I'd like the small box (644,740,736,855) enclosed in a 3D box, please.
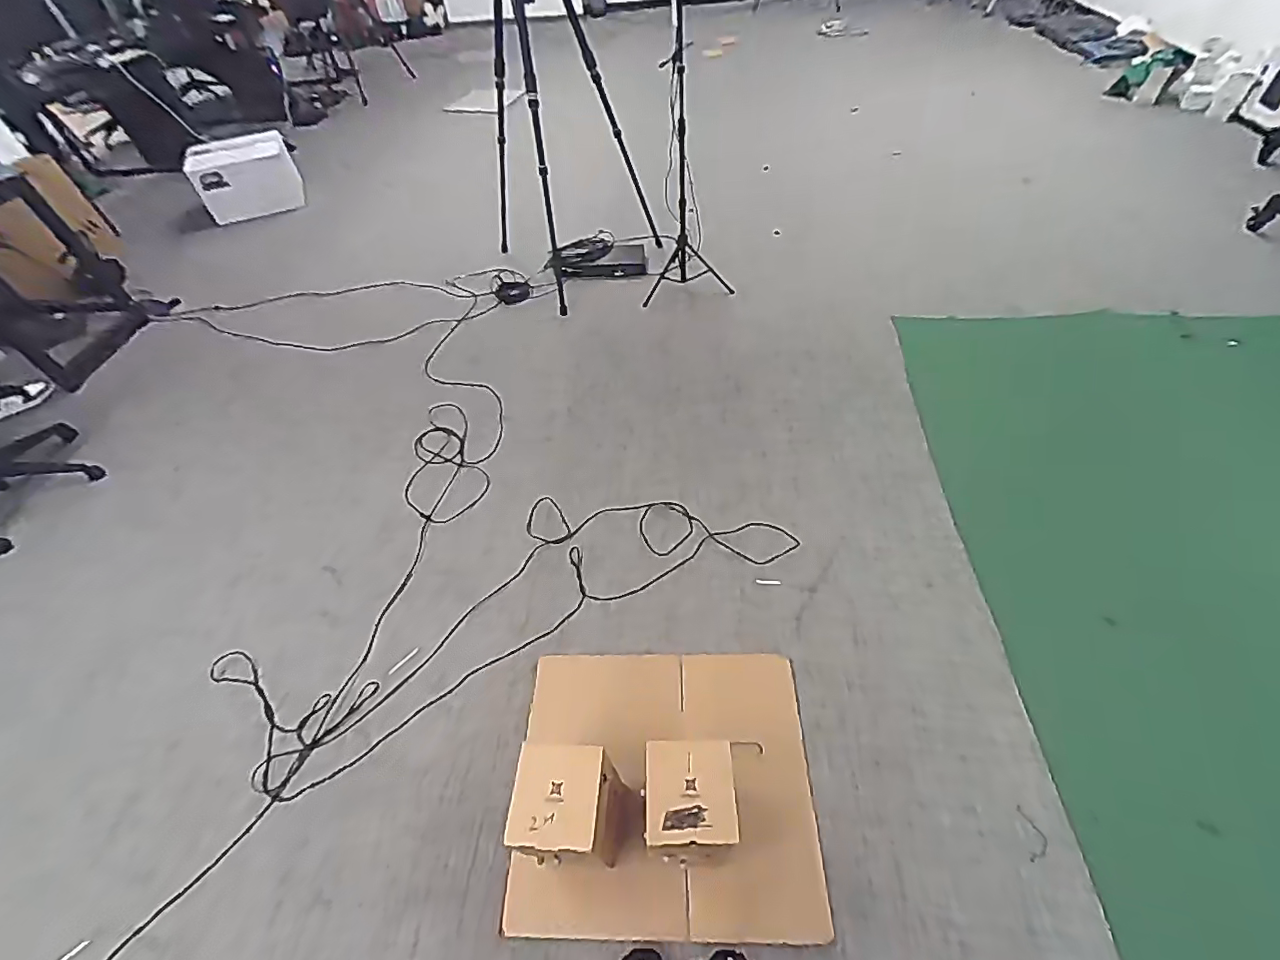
[{"bbox_3d":[0.096,0.626,1.062,0.168,0.176,0.179,-2,50,3],"label":"small box"}]

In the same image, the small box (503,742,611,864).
[{"bbox_3d":[-0.152,0.639,1.070,0.168,0.176,0.179,0,50,7],"label":"small box"}]

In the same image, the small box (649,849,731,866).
[{"bbox_3d":[0.104,0.733,1.187,0.168,0.176,0.179,-2,51,3],"label":"small box"}]
